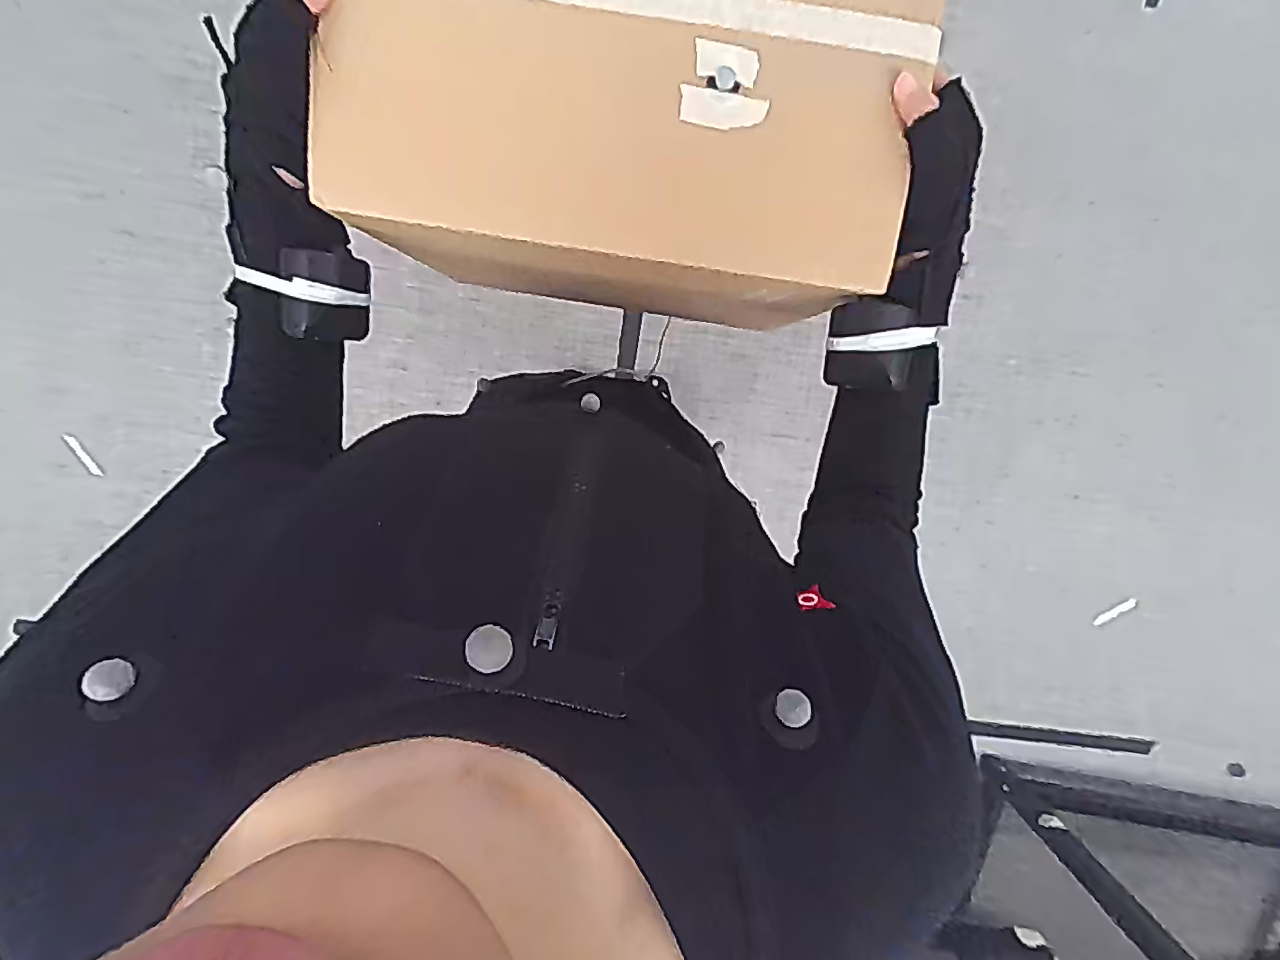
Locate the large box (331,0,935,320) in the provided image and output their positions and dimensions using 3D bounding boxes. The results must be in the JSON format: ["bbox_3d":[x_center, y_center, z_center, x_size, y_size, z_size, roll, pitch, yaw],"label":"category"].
[{"bbox_3d":[-0.007,-0.346,0.507,0.408,0.320,0.320,7,102,-3],"label":"large box"}]
